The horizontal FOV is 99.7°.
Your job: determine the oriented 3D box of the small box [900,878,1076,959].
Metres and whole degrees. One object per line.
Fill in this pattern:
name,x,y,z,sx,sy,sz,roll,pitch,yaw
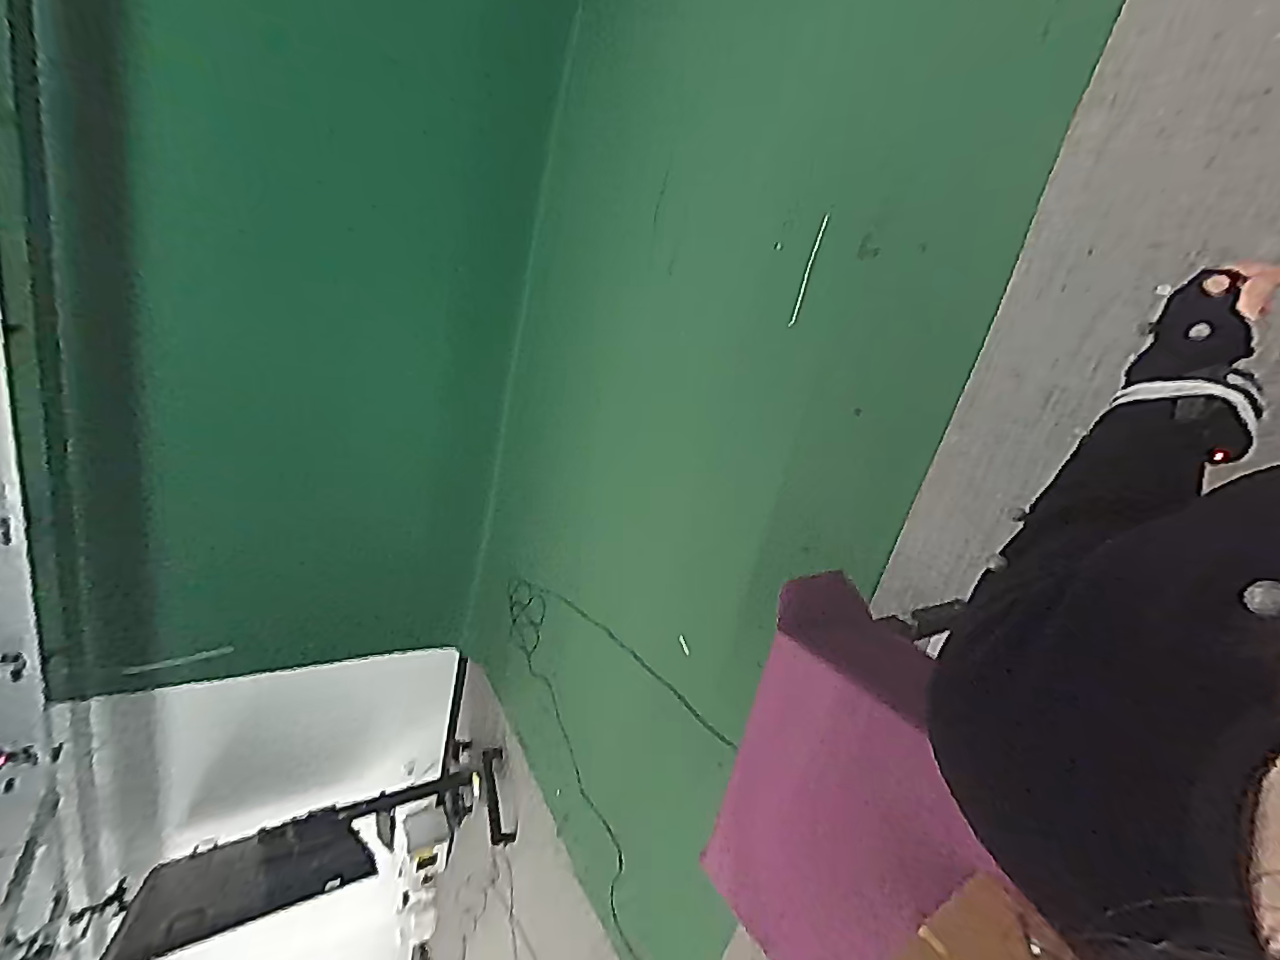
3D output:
small box,0.426,0.648,0.661,0.168,0.176,0.179,34,116,49
